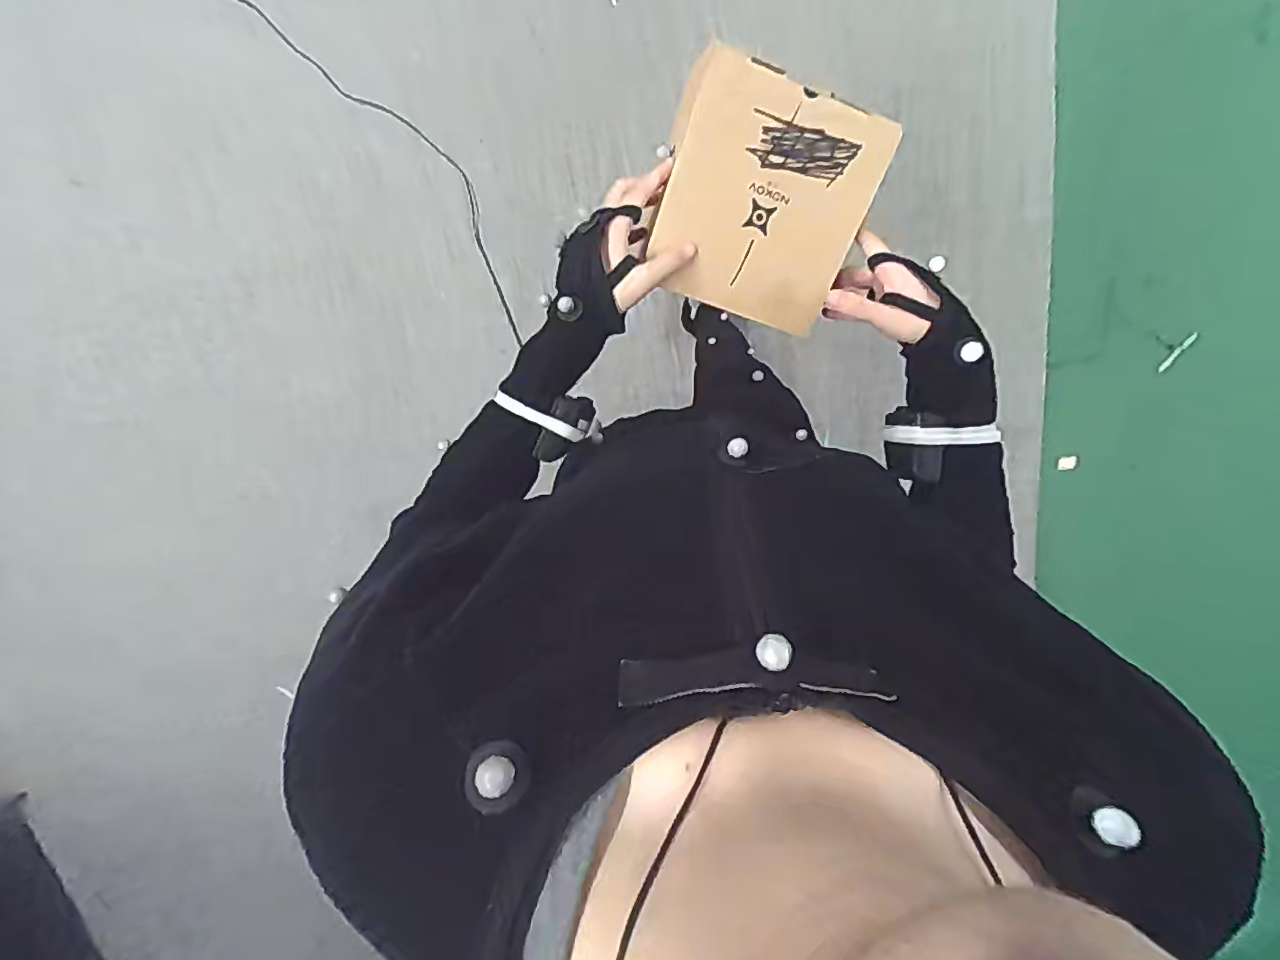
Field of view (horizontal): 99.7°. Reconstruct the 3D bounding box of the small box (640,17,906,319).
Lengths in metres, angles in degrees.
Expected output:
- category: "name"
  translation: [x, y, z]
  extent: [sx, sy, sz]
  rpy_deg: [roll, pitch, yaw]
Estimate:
- category: "small box"
  translation: [0.101, -0.276, 0.510]
  extent: [0.168, 0.176, 0.179]
  rpy_deg: [15, 115, -10]
